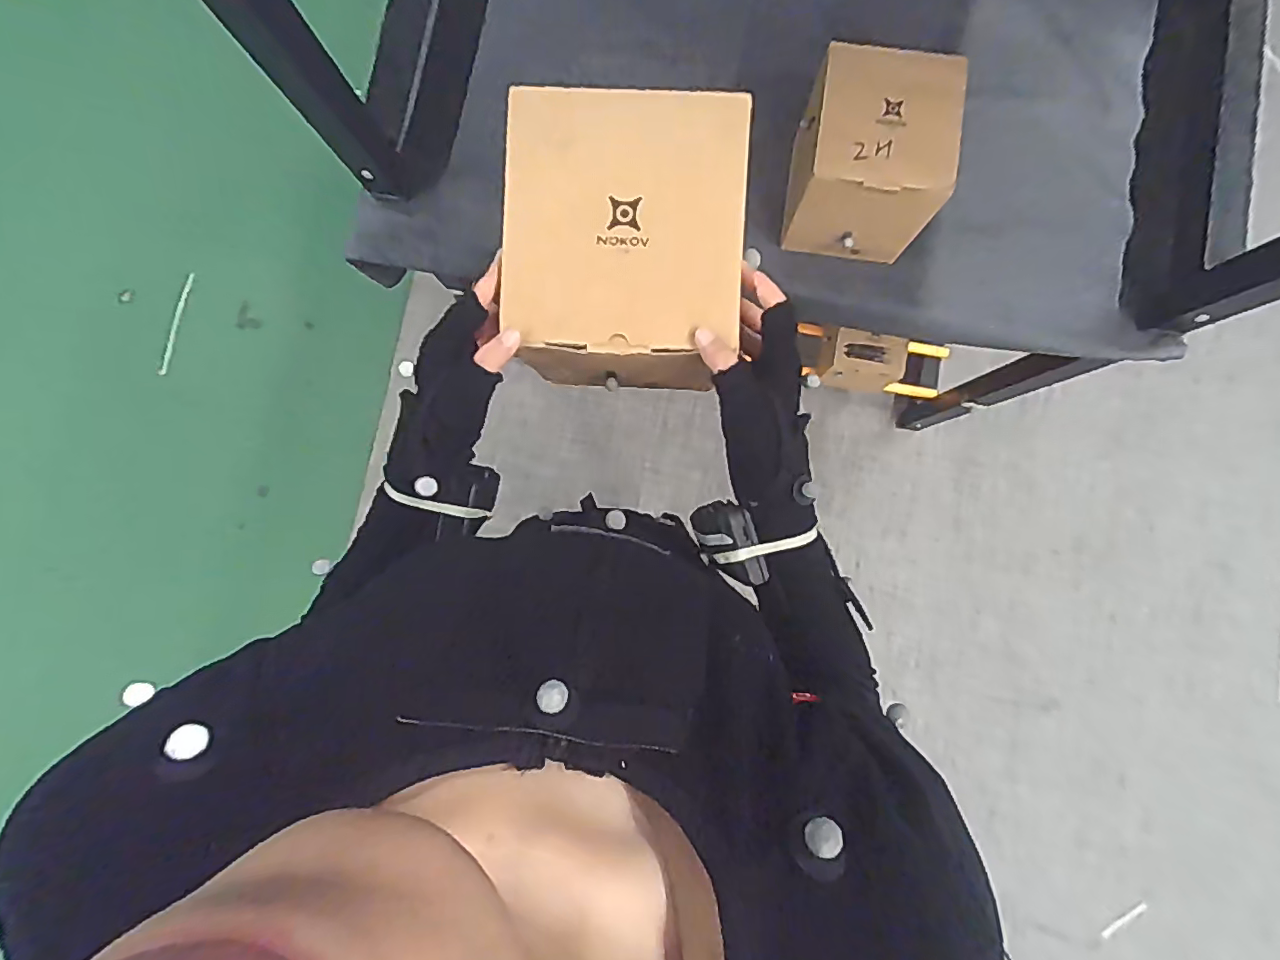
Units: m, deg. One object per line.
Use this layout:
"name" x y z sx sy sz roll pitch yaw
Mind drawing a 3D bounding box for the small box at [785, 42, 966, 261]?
"small box" 0.300 -0.424 0.721 0.168 0.176 0.179 8 84 3
